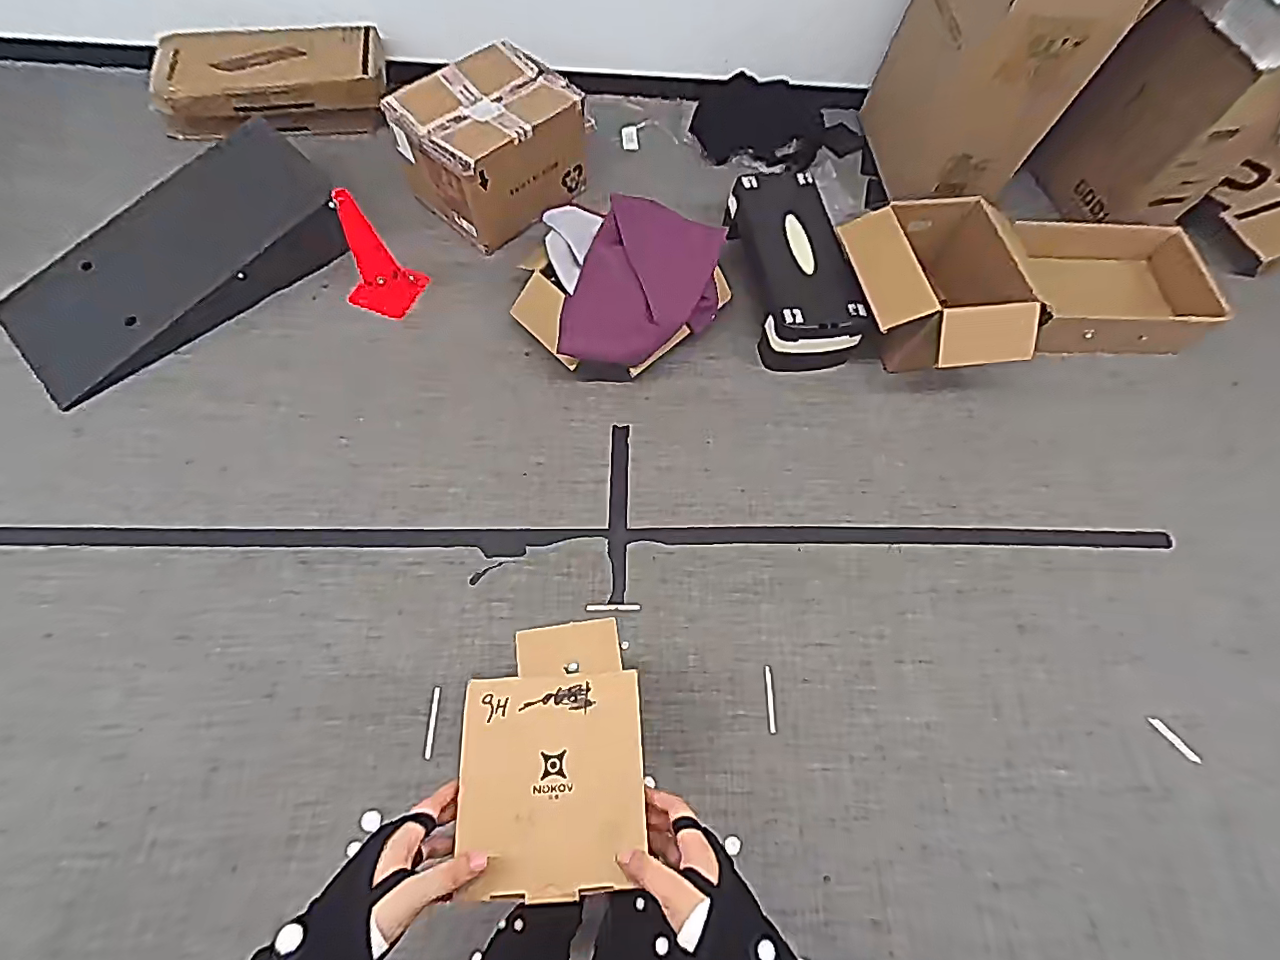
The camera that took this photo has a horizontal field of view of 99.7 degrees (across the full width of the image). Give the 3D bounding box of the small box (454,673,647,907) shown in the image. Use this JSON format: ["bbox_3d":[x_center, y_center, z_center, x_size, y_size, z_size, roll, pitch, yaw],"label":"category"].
[{"bbox_3d":[-0.080,0.300,0.554,0.168,0.176,0.179,-3,66,-3],"label":"small box"}]

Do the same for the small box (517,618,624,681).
[{"bbox_3d":[-0.111,0.347,0.917,0.168,0.176,0.179,-7,67,-6],"label":"small box"}]
